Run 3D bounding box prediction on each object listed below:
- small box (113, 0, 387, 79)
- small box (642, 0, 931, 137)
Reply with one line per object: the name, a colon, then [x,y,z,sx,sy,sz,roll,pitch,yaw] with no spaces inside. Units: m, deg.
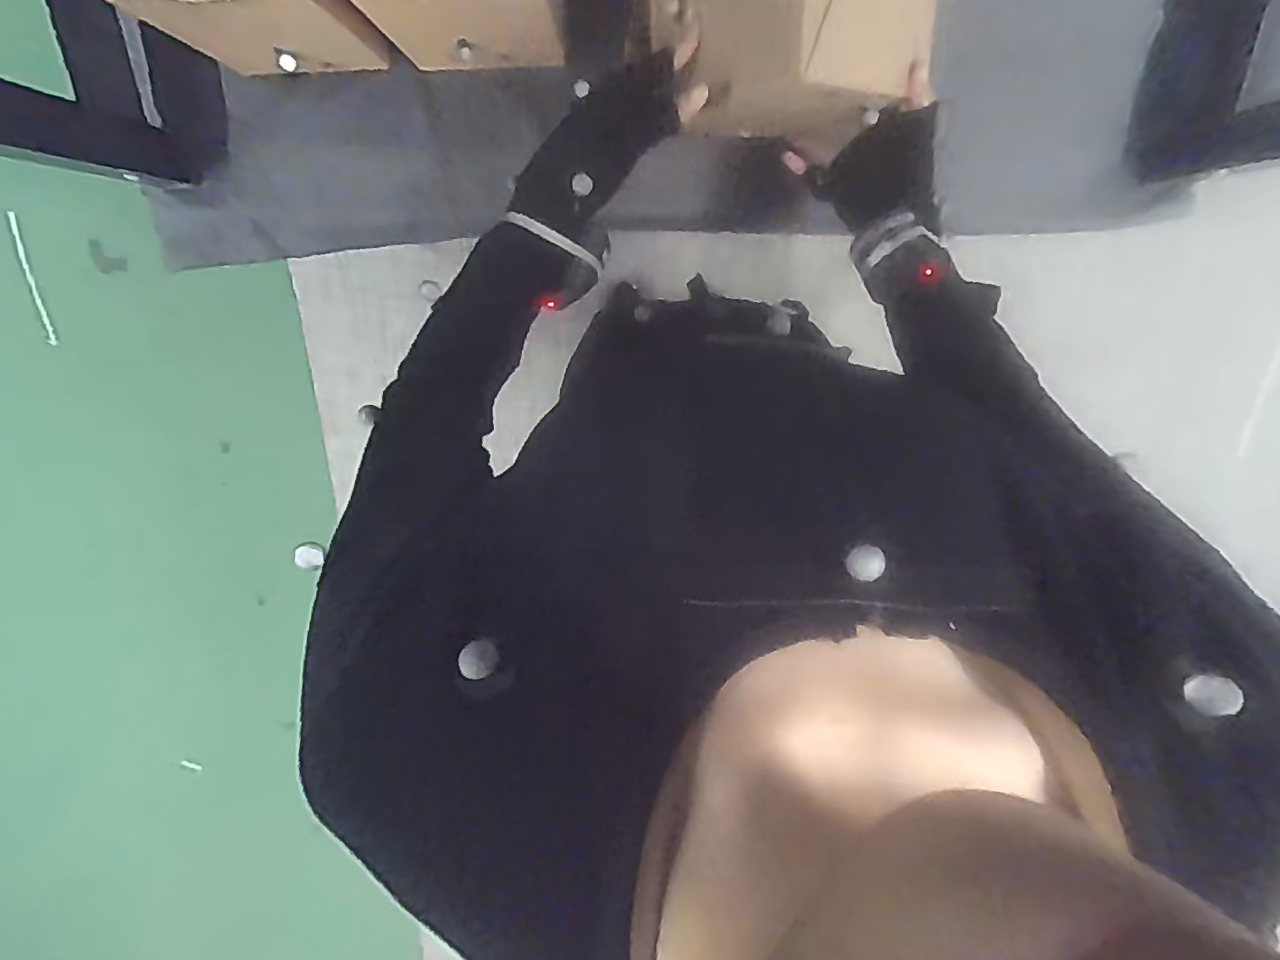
small box: [-0.354,-0.496,0.484,0.168,0.176,0.179,-1,109,2]
small box: [0.116,-0.395,0.433,0.168,0.176,0.179,-20,118,-33]
